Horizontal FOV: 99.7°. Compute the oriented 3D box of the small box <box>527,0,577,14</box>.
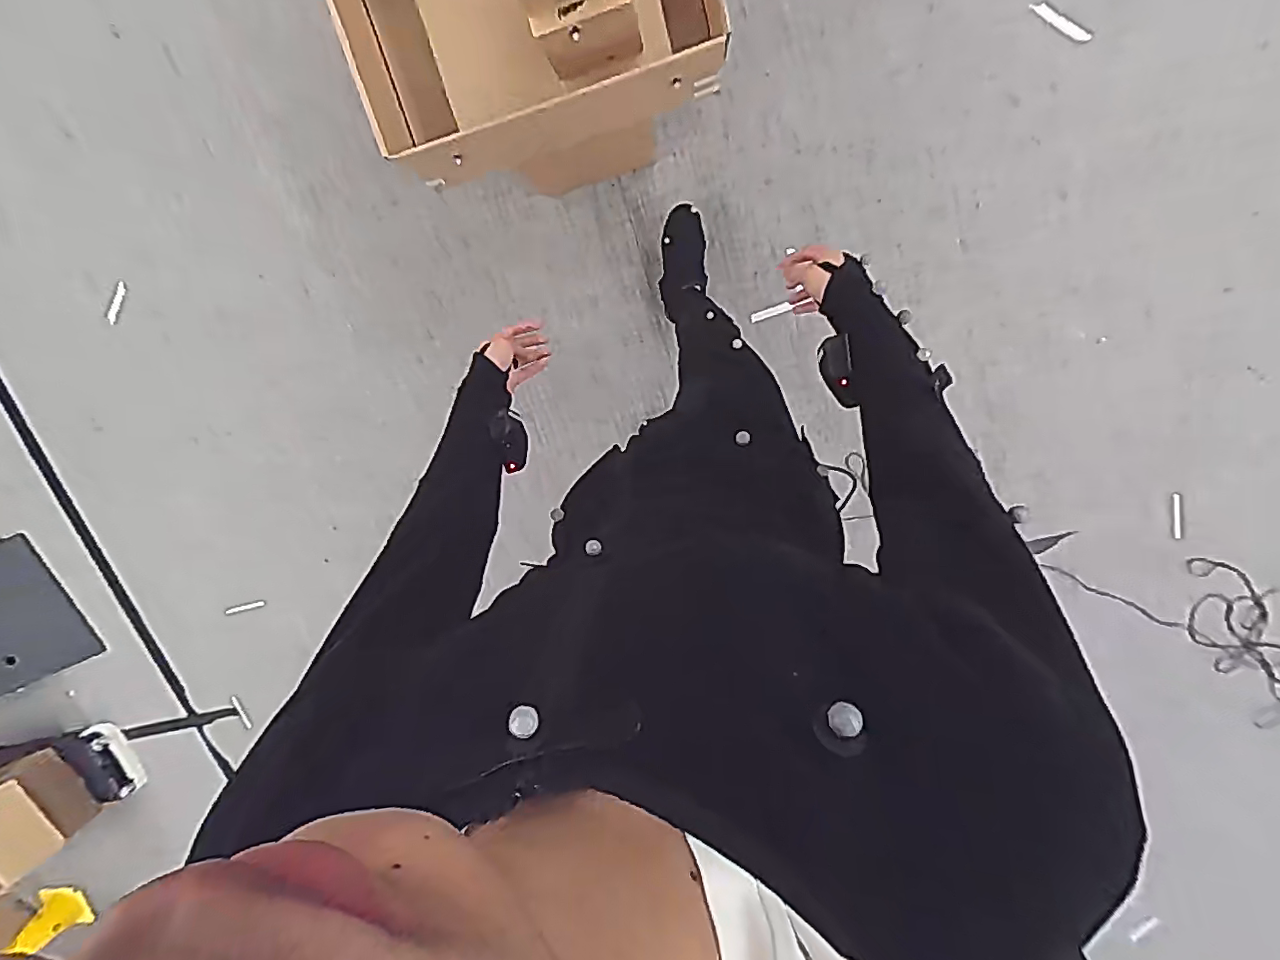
[{"bbox_3d":[-0.117,-0.786,0.720,0.168,0.176,0.179,-11,105,10],"label":"small box"}]
